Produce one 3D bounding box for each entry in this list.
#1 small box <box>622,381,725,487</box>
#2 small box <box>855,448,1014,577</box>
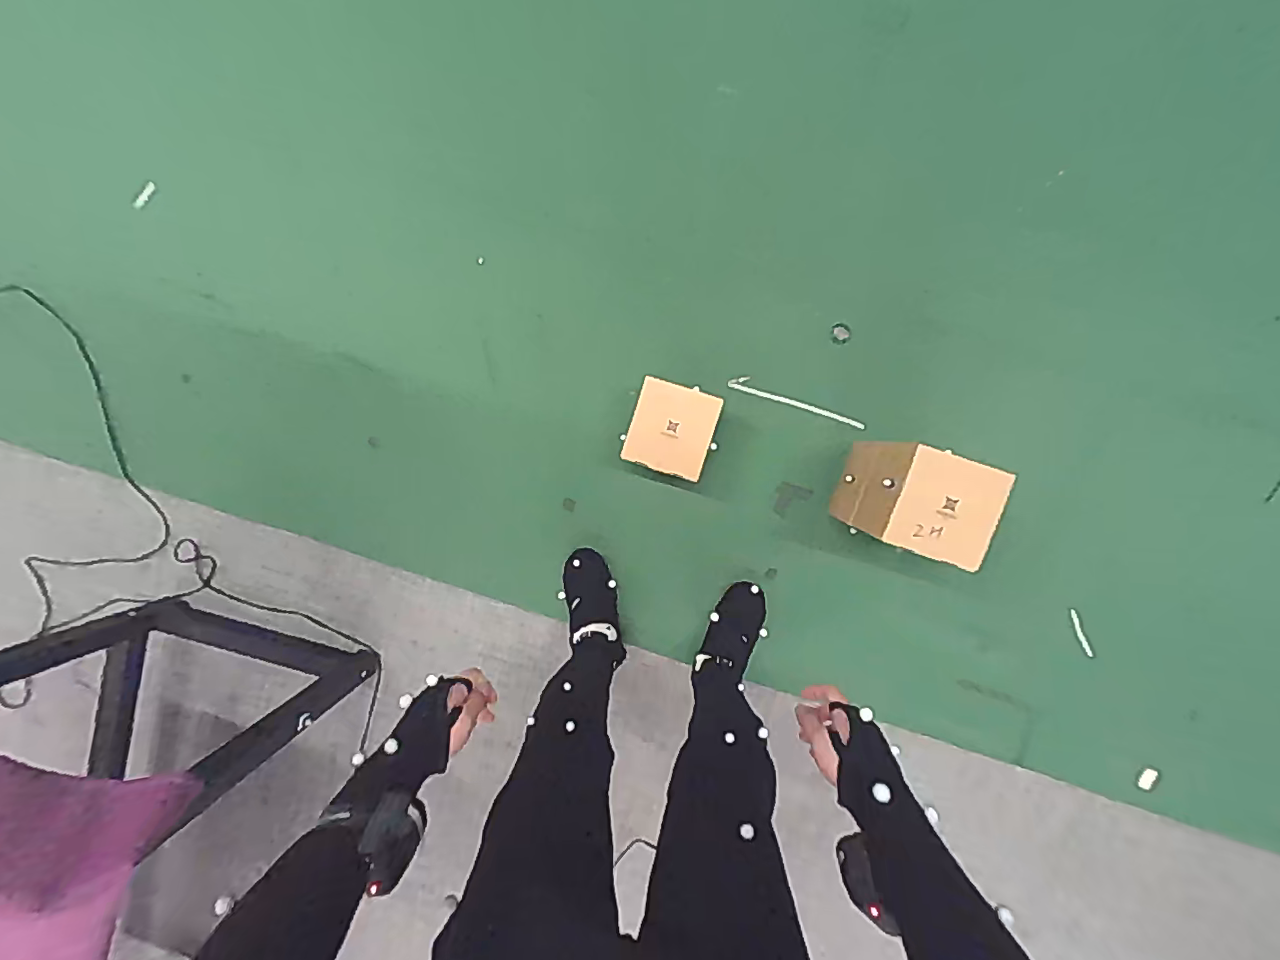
[{"bbox_3d":[0.070,-0.097,1.158,0.168,0.176,0.179,18,96,3],"label":"small box"},{"bbox_3d":[0.512,0.048,0.969,0.168,0.176,0.179,19,96,2],"label":"small box"}]
